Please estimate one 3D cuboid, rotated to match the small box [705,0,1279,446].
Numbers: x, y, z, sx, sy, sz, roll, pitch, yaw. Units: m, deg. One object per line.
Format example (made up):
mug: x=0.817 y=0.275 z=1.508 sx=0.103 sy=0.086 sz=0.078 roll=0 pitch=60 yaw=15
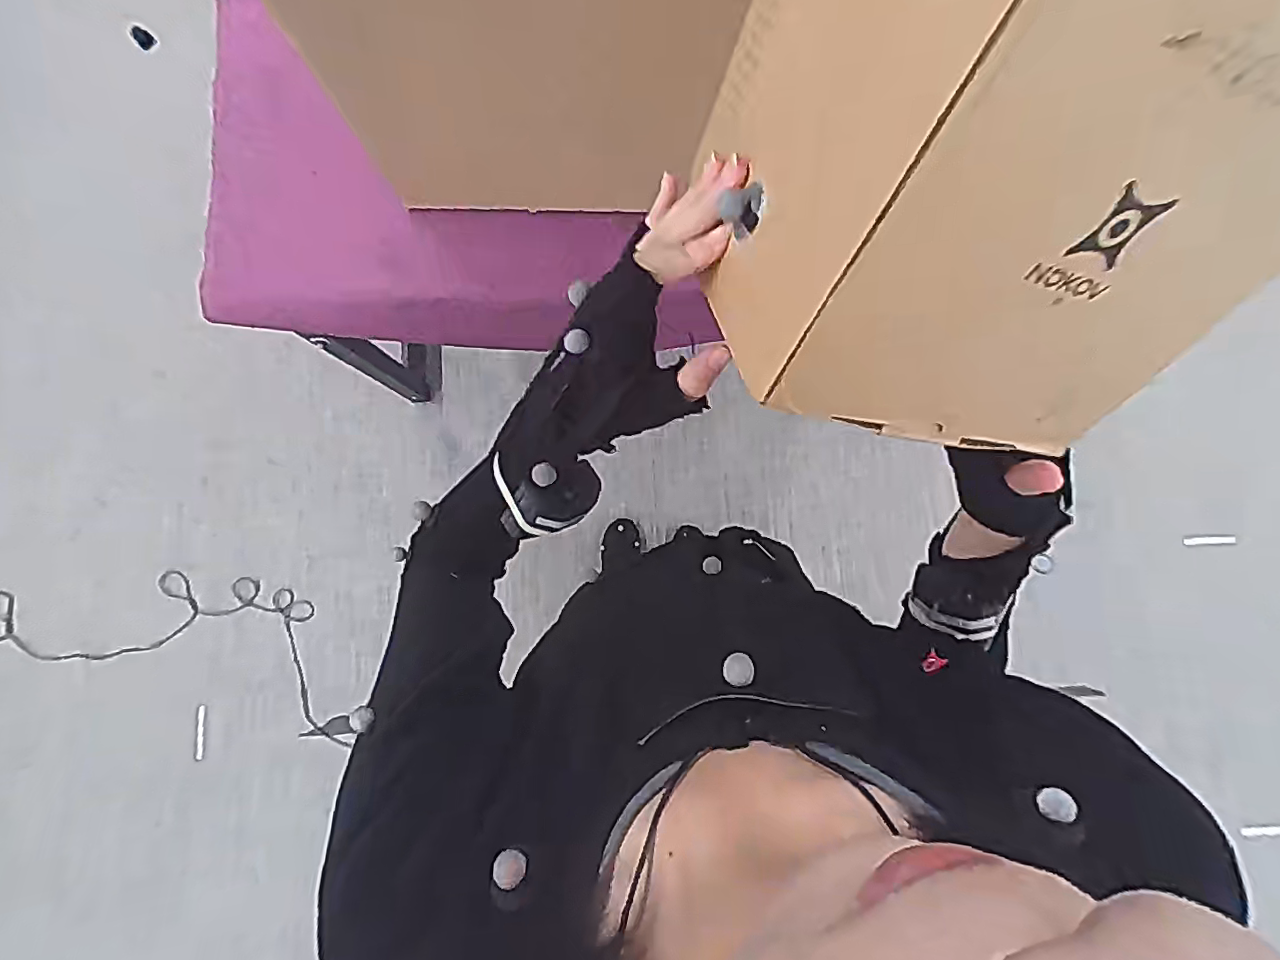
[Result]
small box: x=0.140 y=-0.142 z=0.228 sx=0.168 sy=0.179 sz=0.176 roll=6 pitch=44 yaw=-19
